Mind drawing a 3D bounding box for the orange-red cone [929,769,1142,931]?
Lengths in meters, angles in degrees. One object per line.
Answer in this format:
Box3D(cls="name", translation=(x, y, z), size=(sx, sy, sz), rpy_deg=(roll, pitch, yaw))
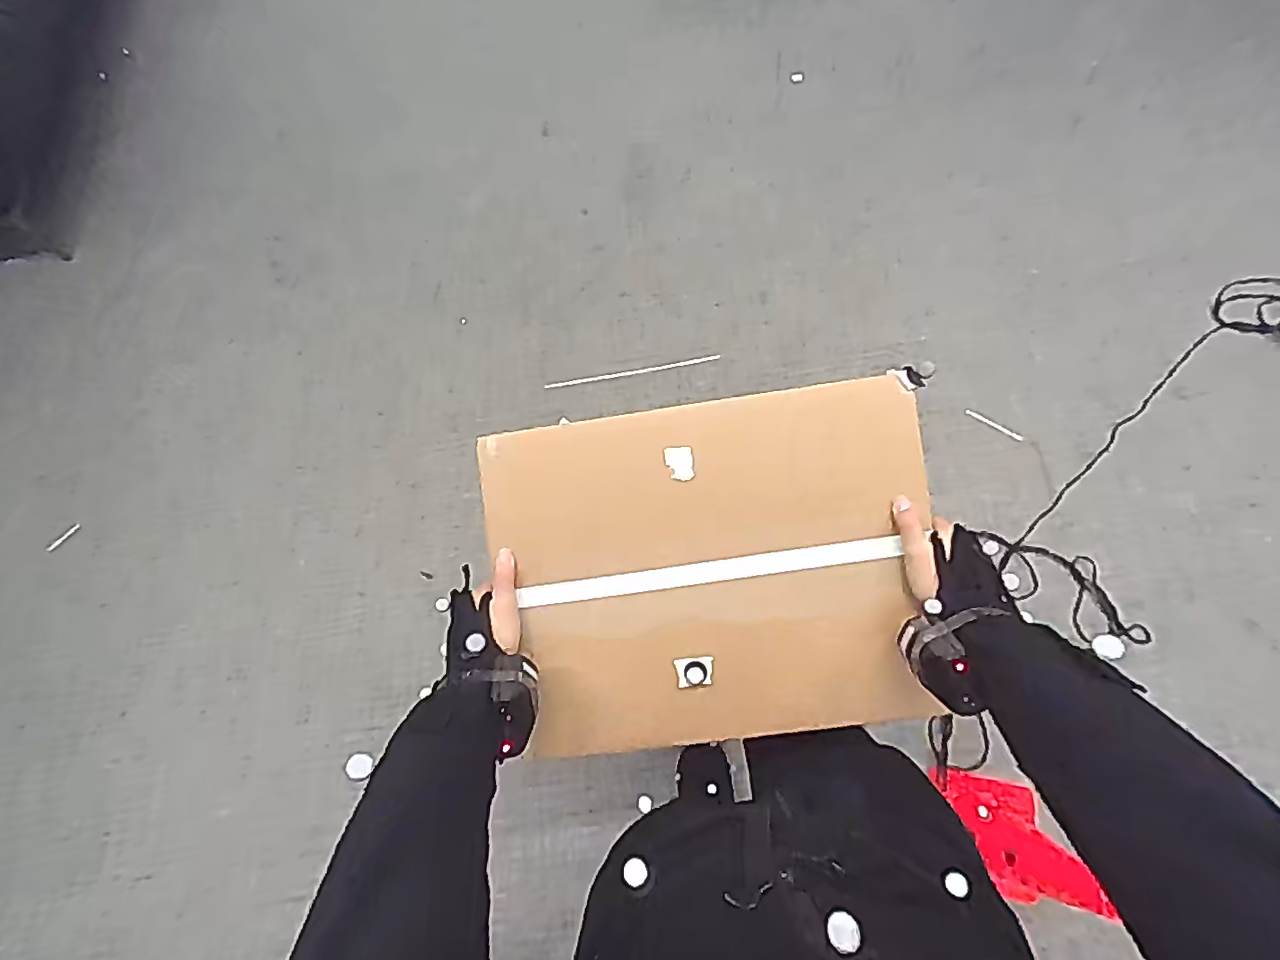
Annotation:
Box3D(cls="orange-red cone", translation=(0.640, 0.612, 0.856), size=(0.199, 0.360, 0.198), rpy_deg=(11, 72, 8))
